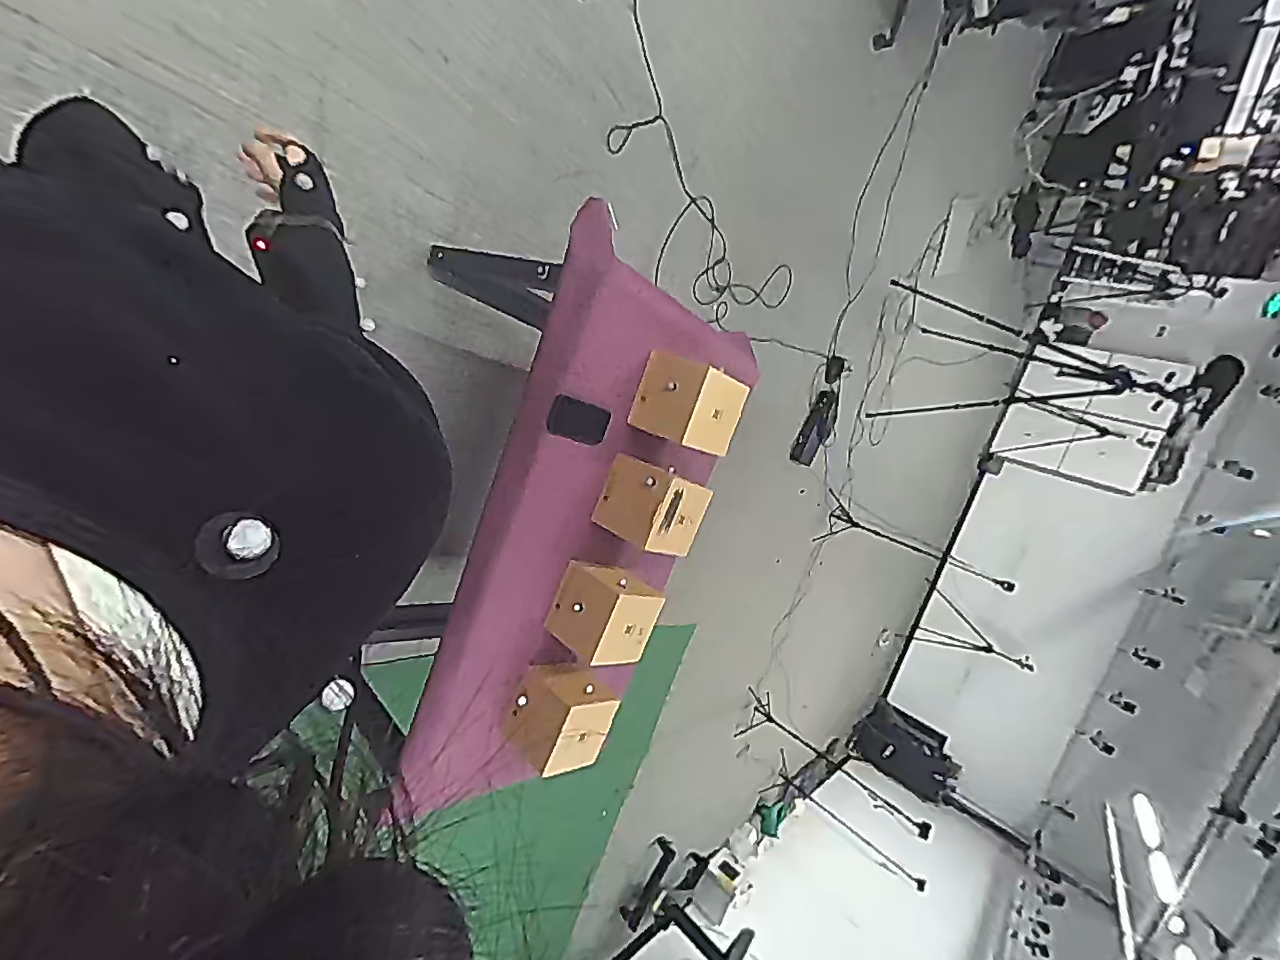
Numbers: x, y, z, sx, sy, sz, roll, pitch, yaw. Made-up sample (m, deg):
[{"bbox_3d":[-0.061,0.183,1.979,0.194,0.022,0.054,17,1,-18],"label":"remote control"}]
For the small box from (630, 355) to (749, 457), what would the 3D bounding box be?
[{"bbox_3d":[0.105,-0.164,1.185,0.179,0.176,0.168,11,101,-52],"label":"small box"}]

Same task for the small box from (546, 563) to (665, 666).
[{"bbox_3d":[-0.081,0.299,1.222,0.179,0.176,0.168,21,94,-52],"label":"small box"}]

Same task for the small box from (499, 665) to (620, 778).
[{"bbox_3d":[-0.185,0.538,1.236,0.179,0.176,0.168,23,91,-52],"label":"small box"}]
